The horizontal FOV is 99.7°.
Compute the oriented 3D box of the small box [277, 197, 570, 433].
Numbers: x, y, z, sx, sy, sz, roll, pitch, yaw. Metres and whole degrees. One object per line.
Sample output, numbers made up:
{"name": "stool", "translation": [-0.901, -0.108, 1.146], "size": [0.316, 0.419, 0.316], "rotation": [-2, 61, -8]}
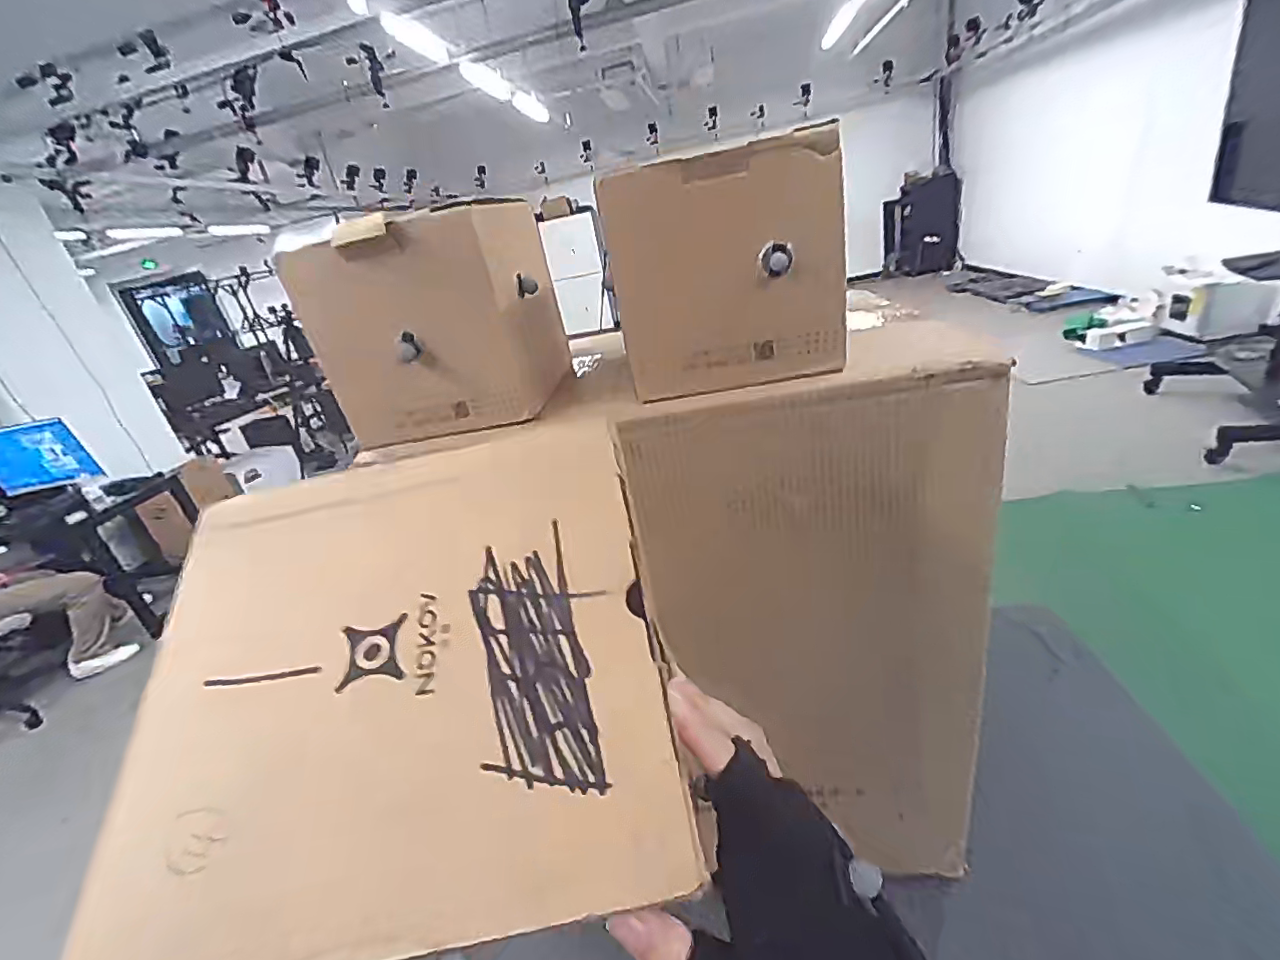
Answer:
{"name": "small box", "translation": [-0.175, -0.151, 0.506], "size": [0.168, 0.176, 0.179], "rotation": [-8, 28, 10]}

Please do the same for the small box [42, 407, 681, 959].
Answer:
{"name": "small box", "translation": [-0.080, 0.094, 0.253], "size": [0.179, 0.176, 0.168], "rotation": [-12, 57, 0]}

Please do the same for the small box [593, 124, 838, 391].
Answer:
{"name": "small box", "translation": [0.068, -0.180, 0.463], "size": [0.168, 0.176, 0.179], "rotation": [-6, 26, 9]}
